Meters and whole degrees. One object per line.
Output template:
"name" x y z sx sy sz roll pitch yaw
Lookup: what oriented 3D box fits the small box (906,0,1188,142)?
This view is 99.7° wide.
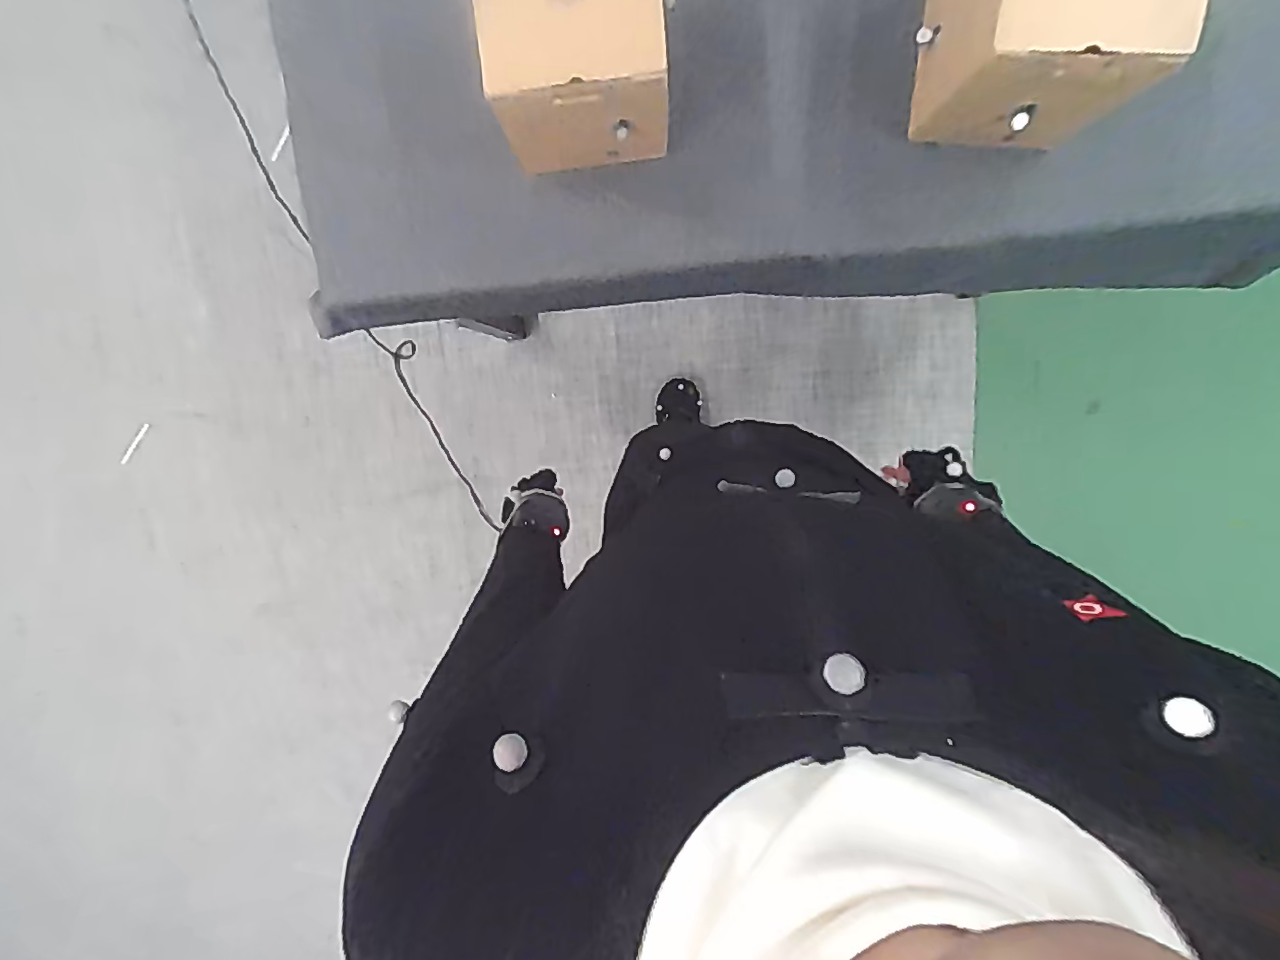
"small box" 0.382 -0.457 0.526 0.168 0.176 0.179 4 101 2

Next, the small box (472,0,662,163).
"small box" -0.066 -0.449 0.551 0.168 0.176 0.179 -6 98 2
